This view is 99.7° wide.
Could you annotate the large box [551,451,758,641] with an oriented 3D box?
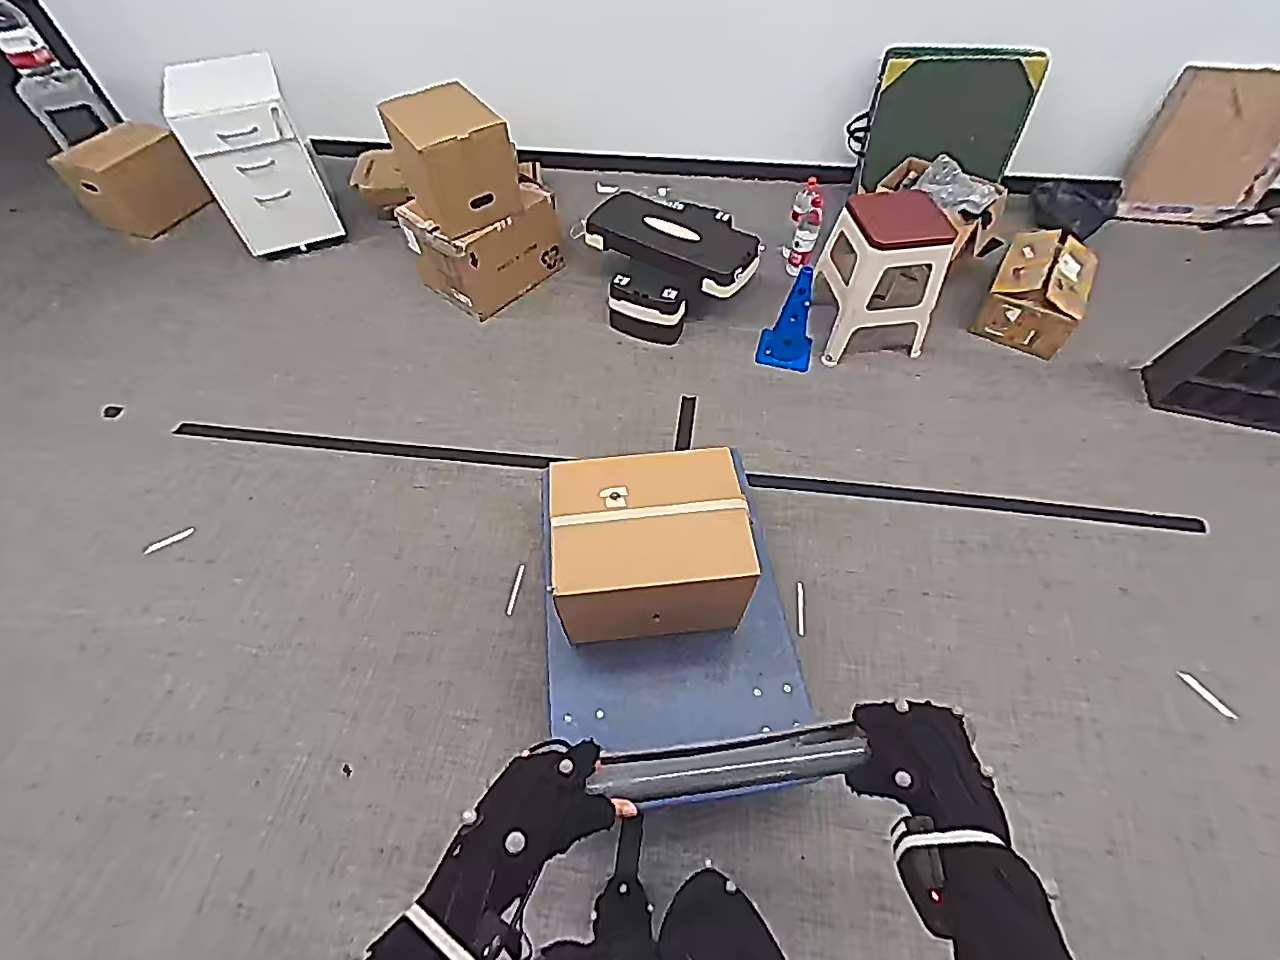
[{"bbox_3d":[0.020,0.161,1.245,0.408,0.320,0.320,-5,57,-3],"label":"large box"}]
